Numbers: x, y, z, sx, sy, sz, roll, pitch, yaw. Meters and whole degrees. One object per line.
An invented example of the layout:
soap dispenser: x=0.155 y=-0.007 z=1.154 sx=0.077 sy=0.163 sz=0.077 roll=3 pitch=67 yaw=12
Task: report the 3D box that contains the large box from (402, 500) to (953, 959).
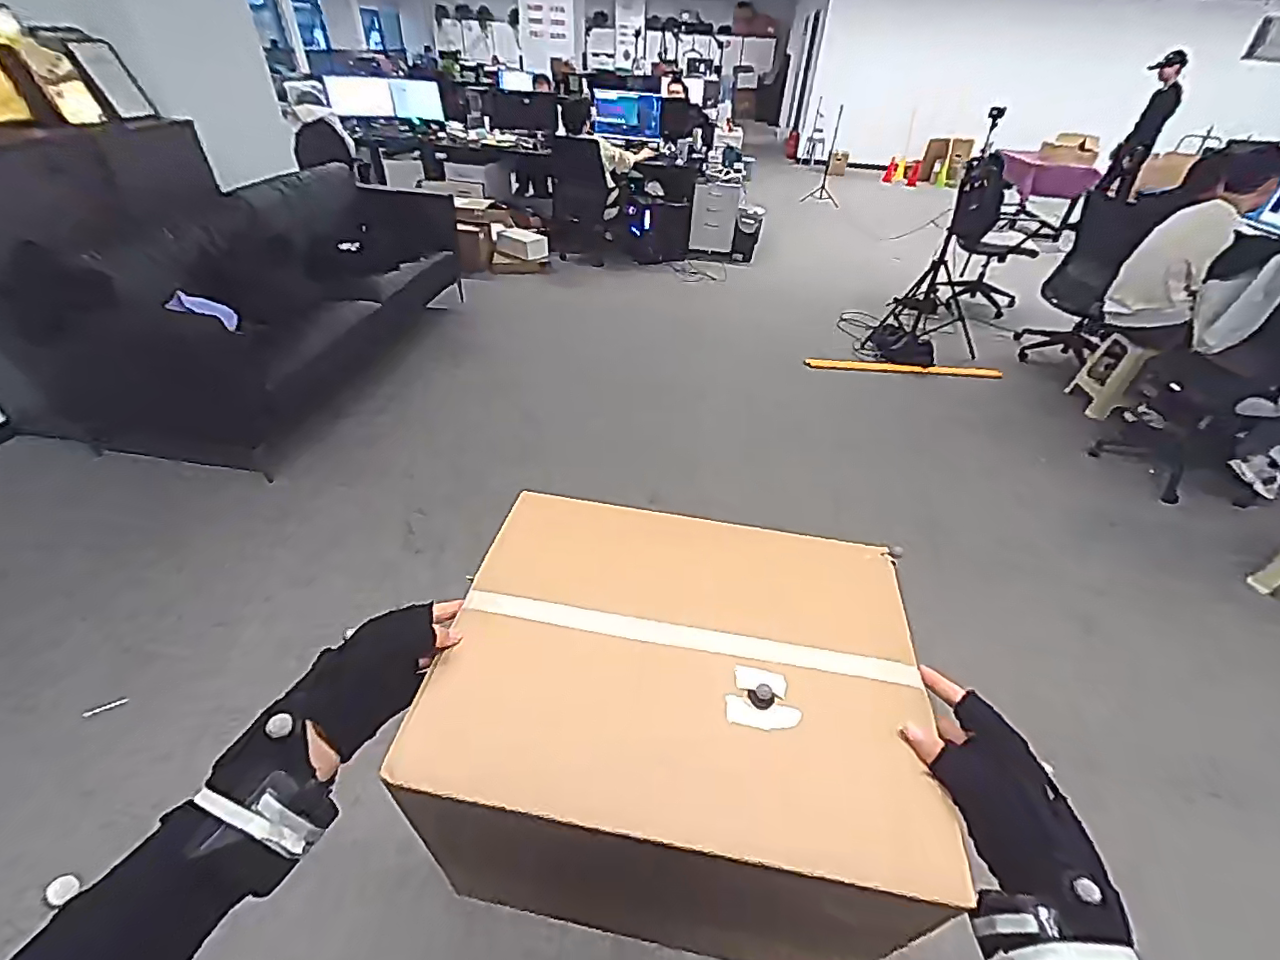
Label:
large box: x=0.032 y=0.257 z=0.588 sx=0.408 sy=0.320 sz=0.320 roll=8 pitch=41 yaw=6
